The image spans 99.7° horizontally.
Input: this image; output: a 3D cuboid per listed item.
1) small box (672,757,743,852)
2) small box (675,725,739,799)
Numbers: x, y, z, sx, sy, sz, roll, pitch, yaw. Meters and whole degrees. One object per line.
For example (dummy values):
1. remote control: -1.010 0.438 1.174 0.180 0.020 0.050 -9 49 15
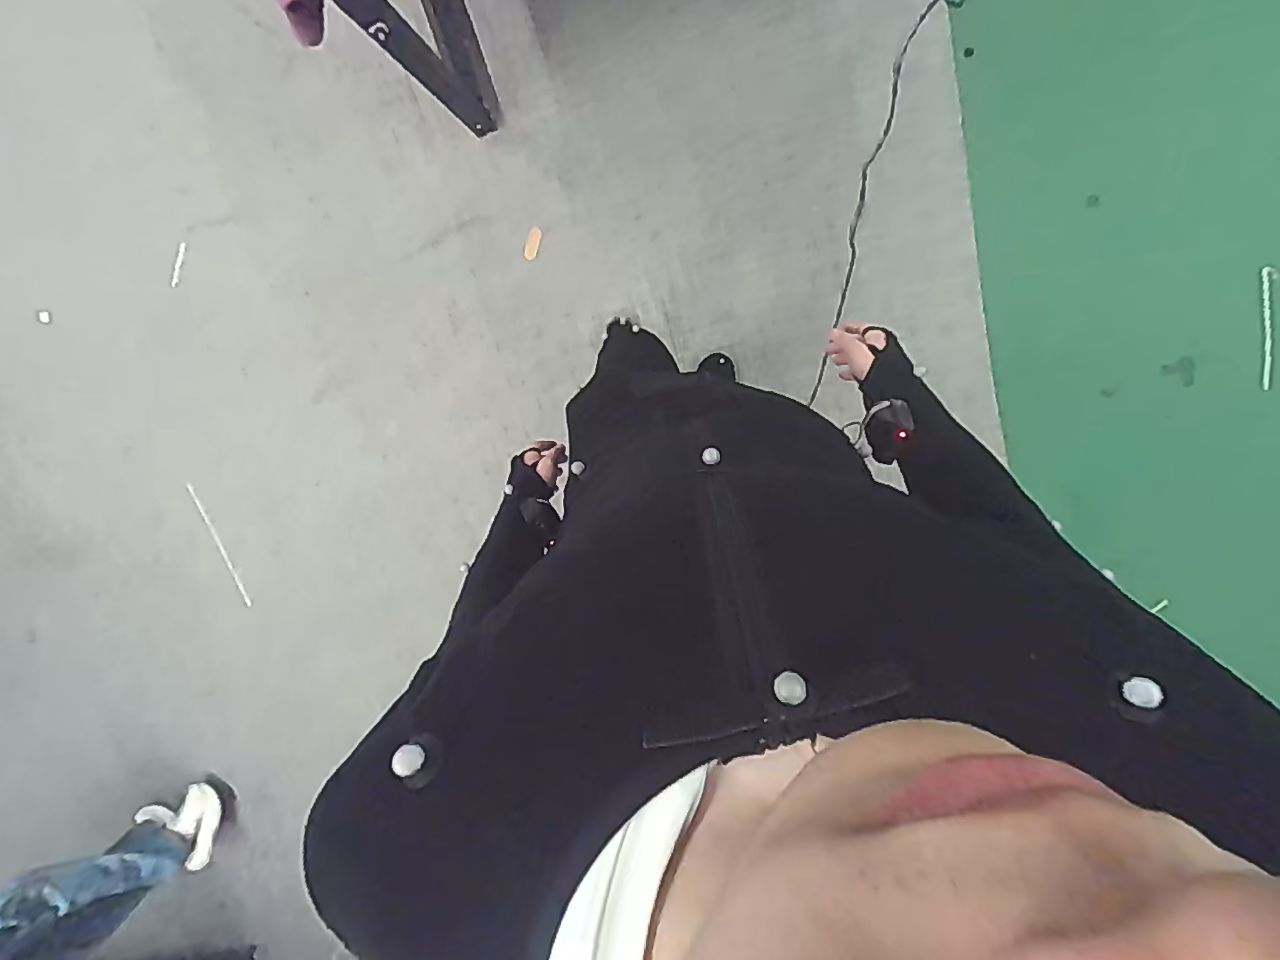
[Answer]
1. small box: 0.201 0.966 1.621 0.179 0.176 0.168 -14 102 8
2. small box: 0.217 0.933 1.777 0.179 0.176 0.168 -13 102 8
